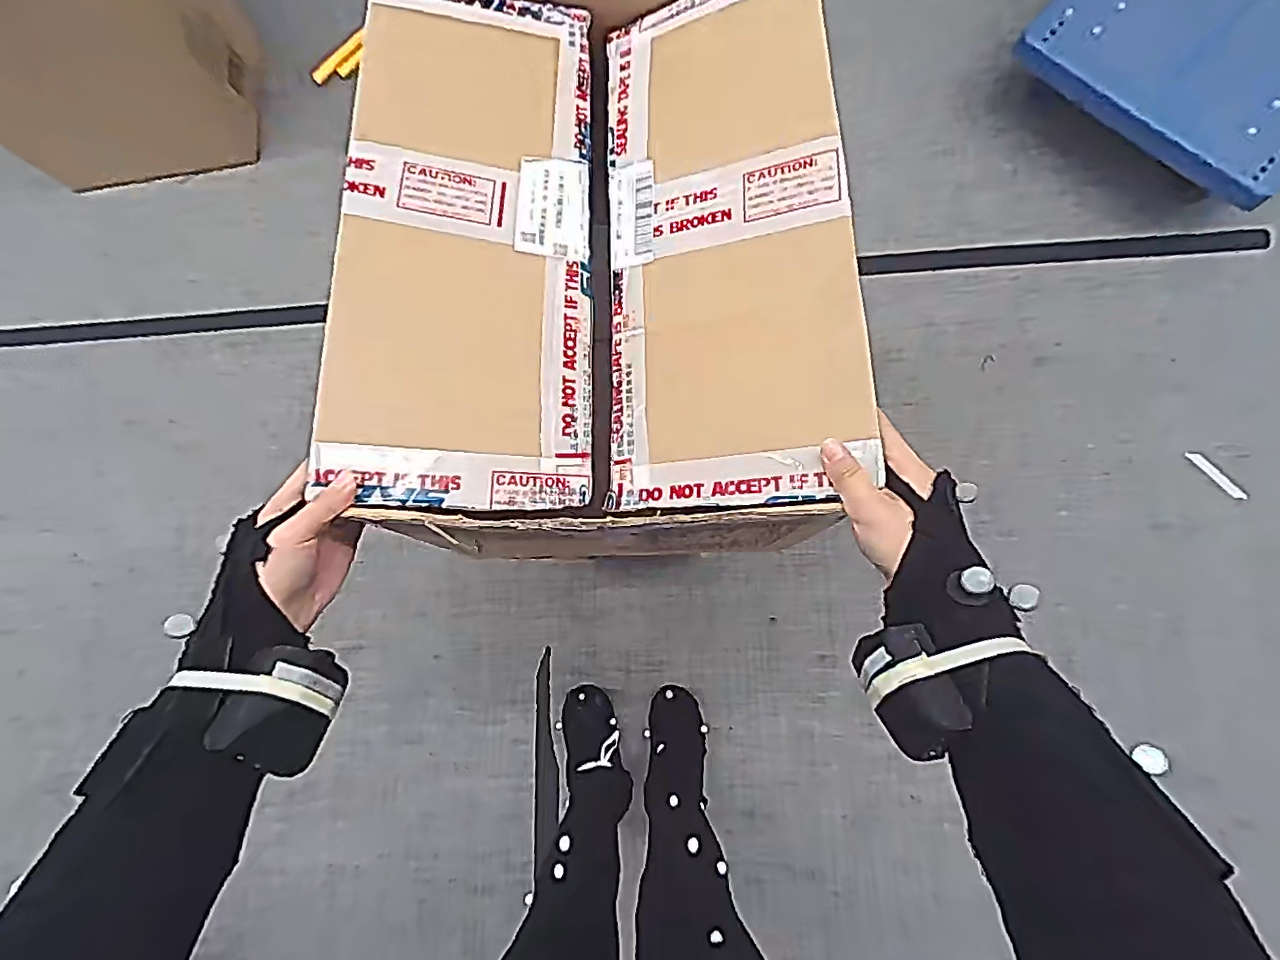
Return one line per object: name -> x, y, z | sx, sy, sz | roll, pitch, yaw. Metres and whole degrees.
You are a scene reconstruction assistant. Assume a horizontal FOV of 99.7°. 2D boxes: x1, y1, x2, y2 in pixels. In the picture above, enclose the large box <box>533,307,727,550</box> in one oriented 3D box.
large box -> -0.016, -0.076, 1.065 | 0.320, 0.320, 0.408 | -4, 81, 4
